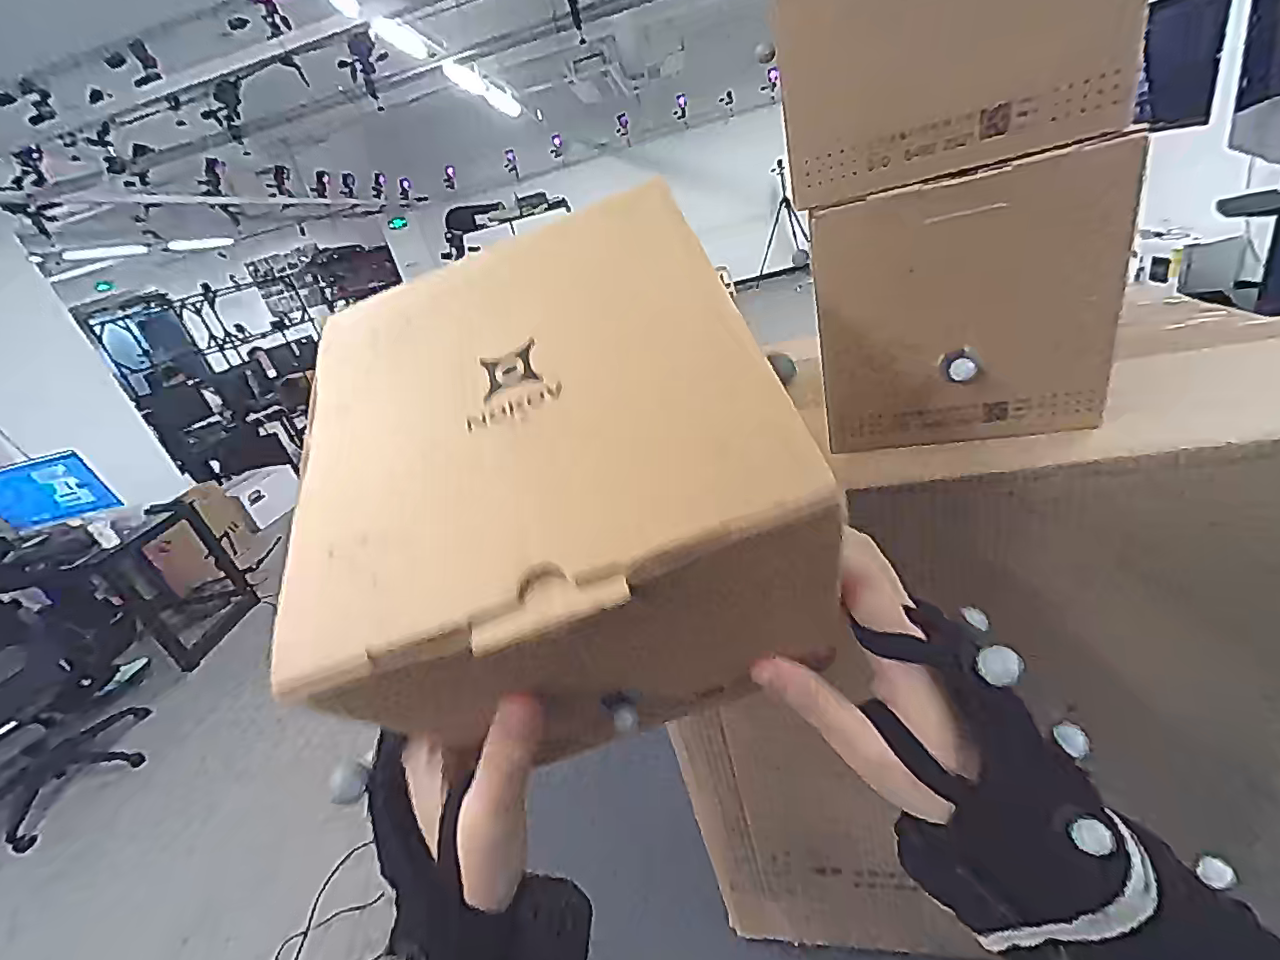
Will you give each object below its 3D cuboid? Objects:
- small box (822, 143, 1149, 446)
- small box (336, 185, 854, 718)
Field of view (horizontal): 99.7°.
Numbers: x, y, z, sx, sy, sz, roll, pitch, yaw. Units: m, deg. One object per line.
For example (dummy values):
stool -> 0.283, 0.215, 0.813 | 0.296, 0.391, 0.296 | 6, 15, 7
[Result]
small box -> 0.230, -0.141, 0.415 | 0.168, 0.176, 0.179 | -4, 30, 19
small box -> -0.015, -0.003, 0.273 | 0.168, 0.176, 0.179 | -19, 55, 4
